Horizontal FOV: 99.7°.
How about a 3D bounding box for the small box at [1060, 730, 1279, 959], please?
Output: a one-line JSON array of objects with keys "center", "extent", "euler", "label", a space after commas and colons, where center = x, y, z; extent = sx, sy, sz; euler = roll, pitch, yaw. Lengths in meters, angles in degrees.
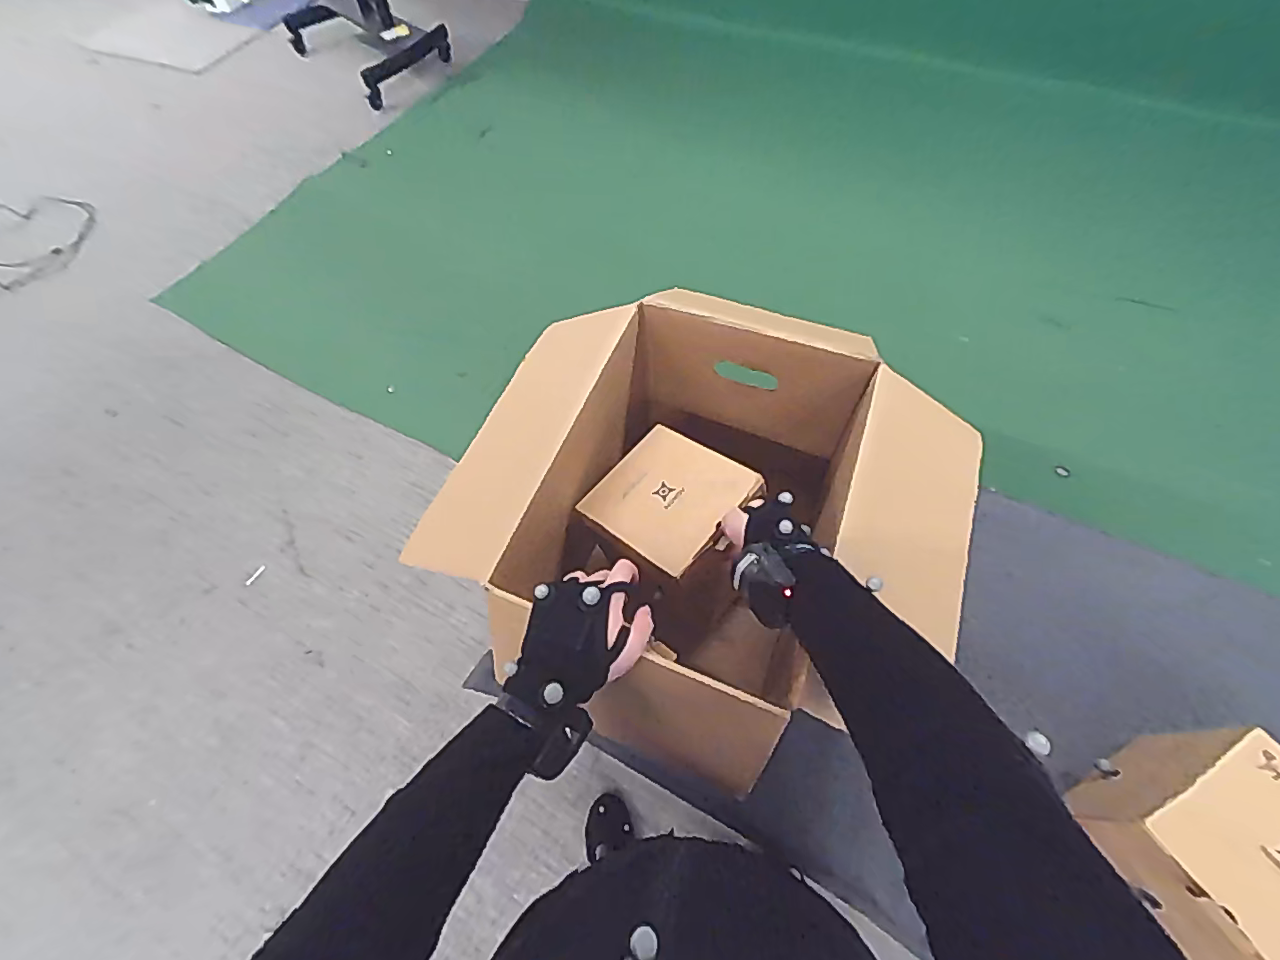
[{"center": [0.598, 0.392, 0.569], "extent": [0.179, 0.176, 0.168], "euler": [-27, 62, -10], "label": "small box"}]
